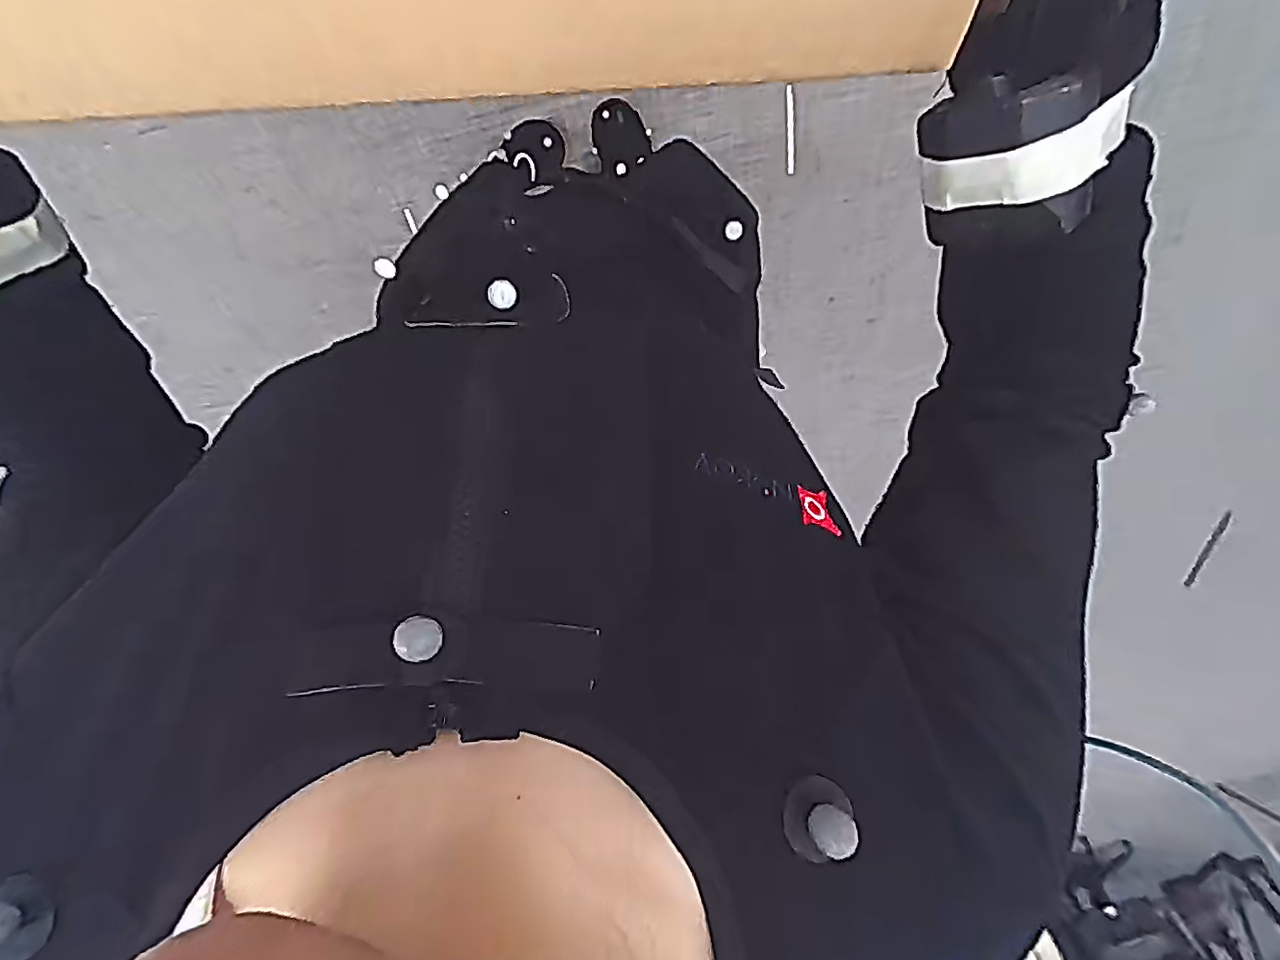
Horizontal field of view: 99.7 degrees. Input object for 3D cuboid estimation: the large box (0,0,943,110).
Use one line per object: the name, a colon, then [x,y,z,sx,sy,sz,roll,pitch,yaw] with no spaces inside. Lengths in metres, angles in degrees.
large box: [-0.095,-0.369,0.175,0.408,0.320,0.320,-5,144,-2]
